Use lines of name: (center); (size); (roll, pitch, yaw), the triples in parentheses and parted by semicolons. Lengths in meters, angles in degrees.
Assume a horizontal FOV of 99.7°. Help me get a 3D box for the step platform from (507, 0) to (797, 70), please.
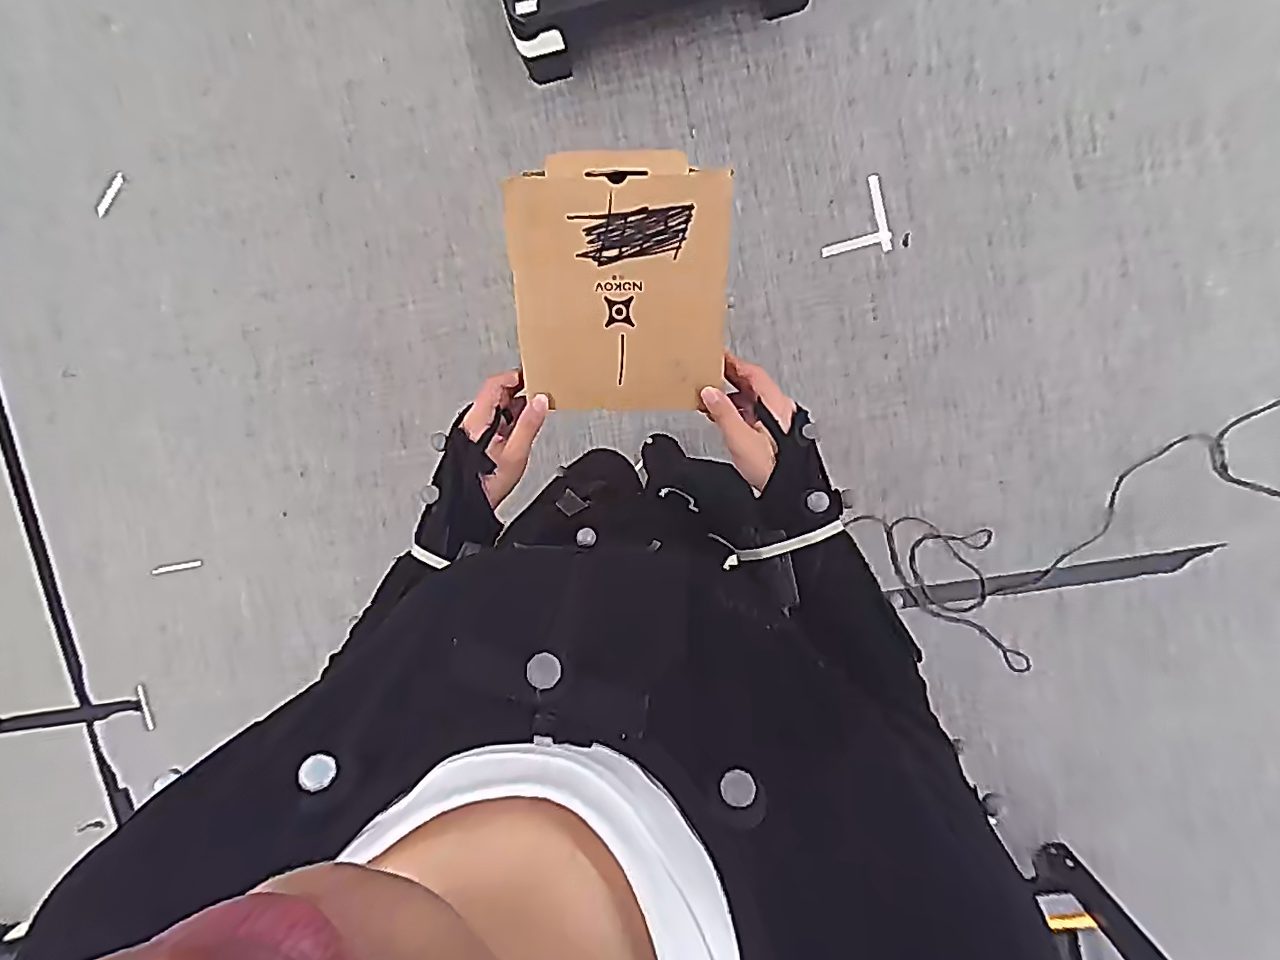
step platform: (0.032, -1.160, 1.157); (0.684, 0.204, 0.286); (-11, 94, 7)

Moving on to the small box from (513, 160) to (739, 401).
small box: (-0.009, -0.177, 0.490); (0.168, 0.176, 0.179); (0, 113, 2)
